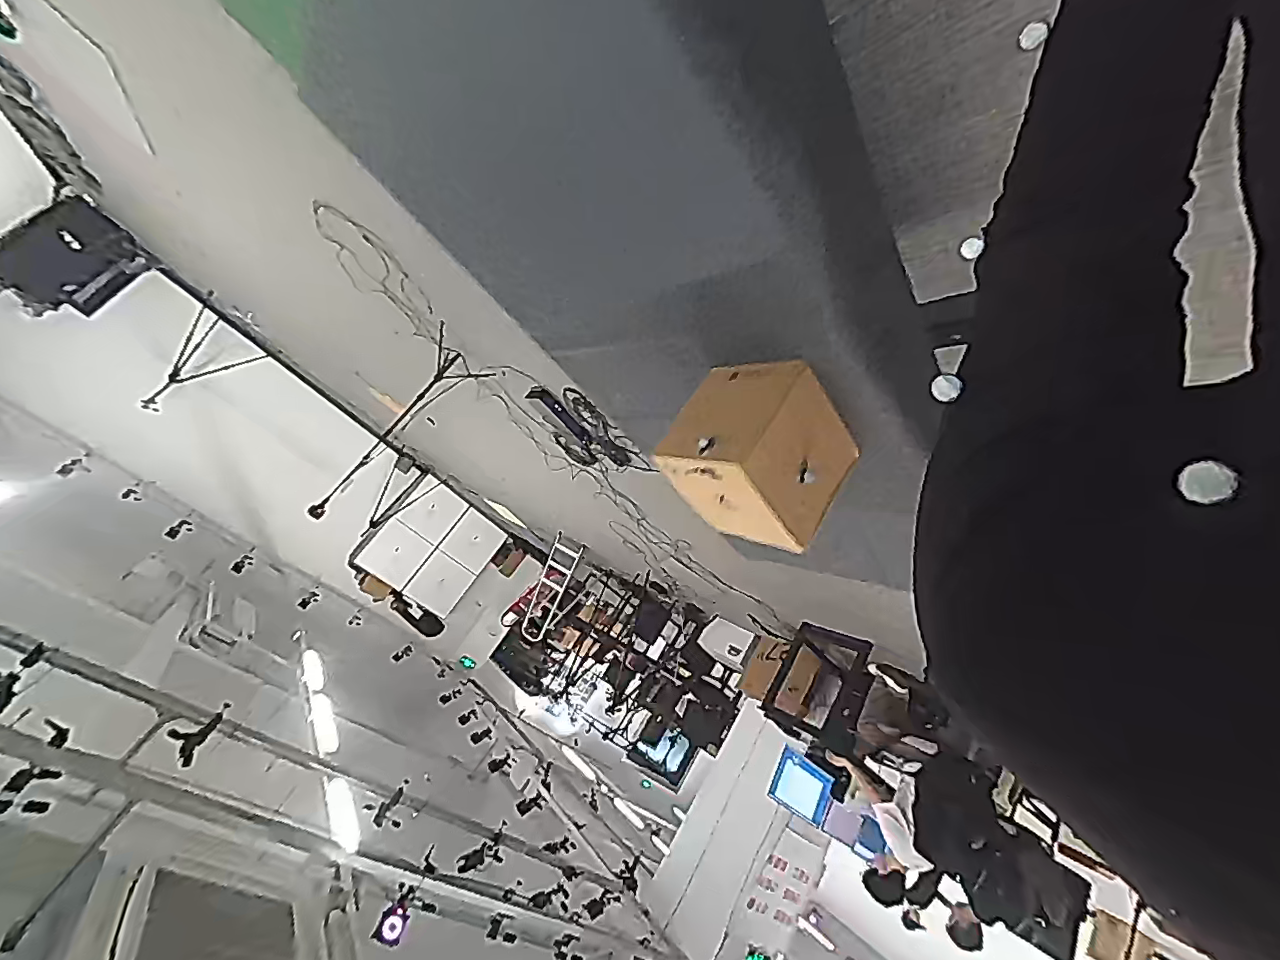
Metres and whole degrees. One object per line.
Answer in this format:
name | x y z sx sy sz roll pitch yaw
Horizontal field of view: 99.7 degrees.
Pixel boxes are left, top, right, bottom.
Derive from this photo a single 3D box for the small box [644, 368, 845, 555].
small box | 0.146 -0.029 0.730 0.168 0.176 0.179 10 149 53
